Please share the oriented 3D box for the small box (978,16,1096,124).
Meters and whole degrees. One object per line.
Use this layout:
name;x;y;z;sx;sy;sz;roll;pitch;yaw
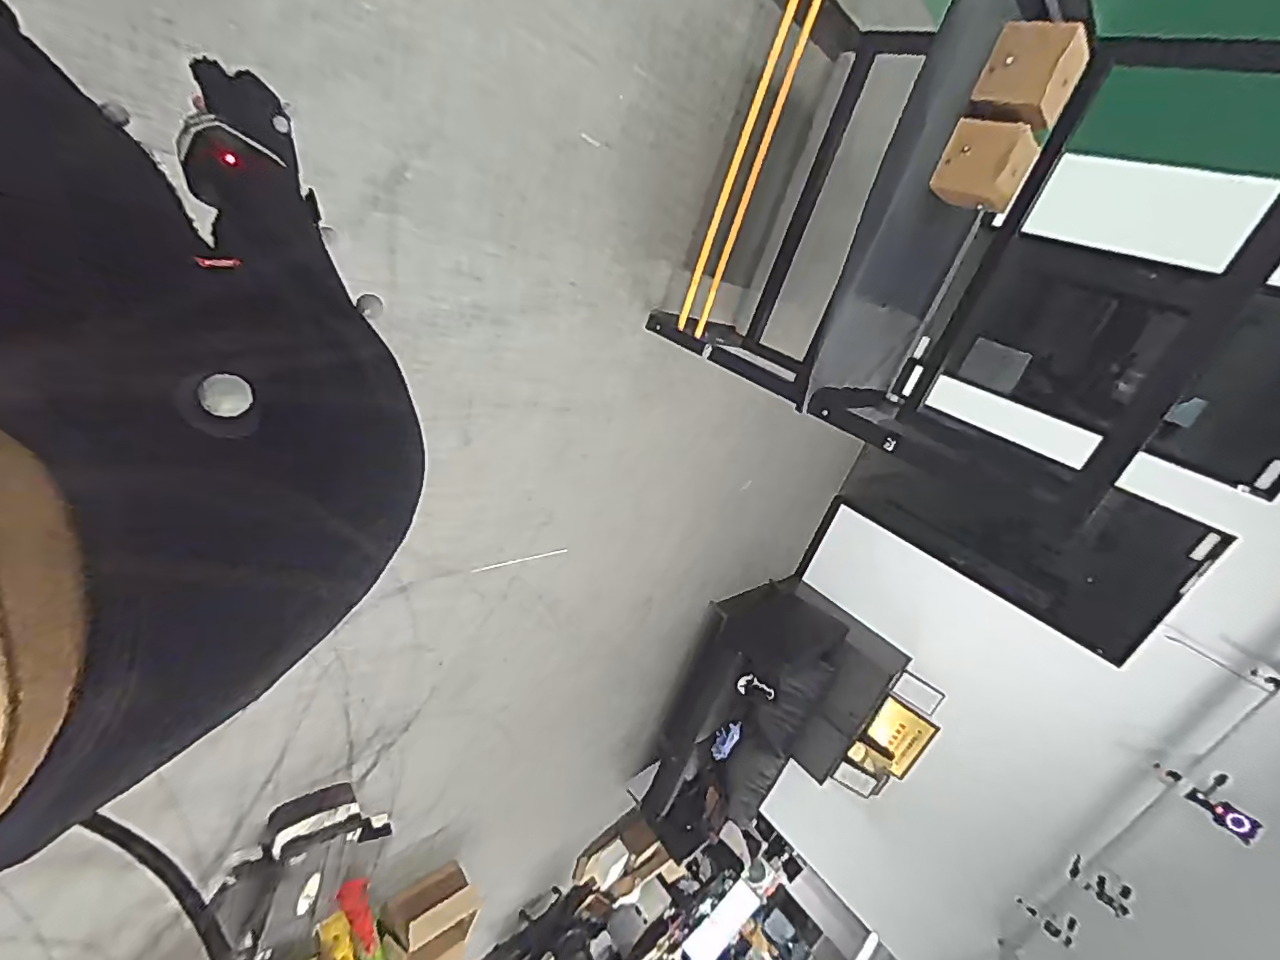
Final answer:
small box;0.988;-1.023;1.350;0.179;0.176;0.168;-7;125;-46
